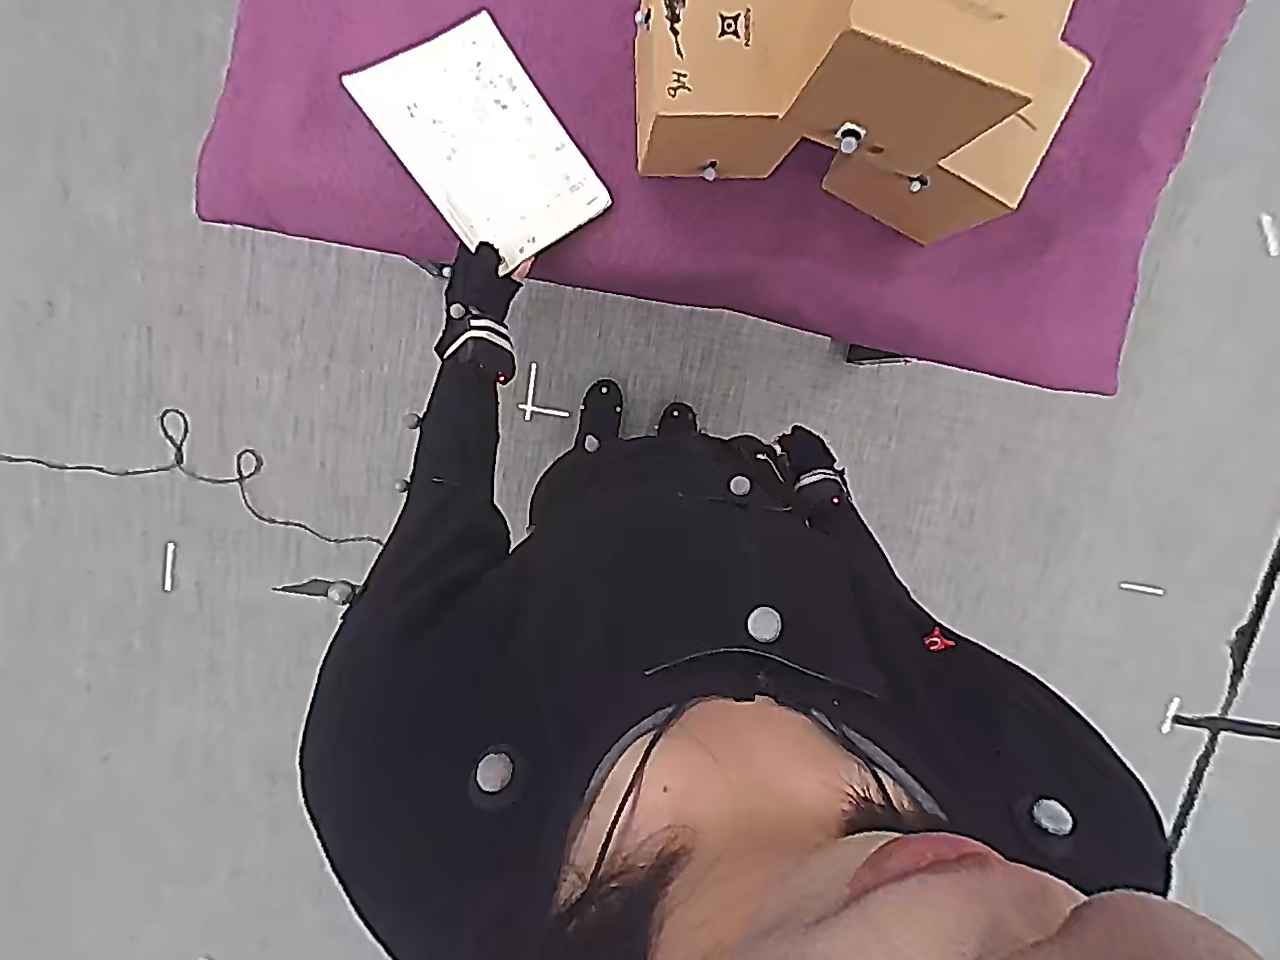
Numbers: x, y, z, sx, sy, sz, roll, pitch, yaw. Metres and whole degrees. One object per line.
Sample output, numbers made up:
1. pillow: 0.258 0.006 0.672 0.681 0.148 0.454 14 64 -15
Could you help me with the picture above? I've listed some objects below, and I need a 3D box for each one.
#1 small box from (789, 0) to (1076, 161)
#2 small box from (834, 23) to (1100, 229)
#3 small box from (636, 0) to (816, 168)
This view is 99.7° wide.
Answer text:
1. small box: 0.250 -0.422 0.469 0.168 0.176 0.179 15 99 -6
2. small box: 0.365 -0.428 0.642 0.179 0.176 0.168 25 97 -8
3. small box: 0.092 -0.475 0.612 0.179 0.176 0.168 -2 99 -5
